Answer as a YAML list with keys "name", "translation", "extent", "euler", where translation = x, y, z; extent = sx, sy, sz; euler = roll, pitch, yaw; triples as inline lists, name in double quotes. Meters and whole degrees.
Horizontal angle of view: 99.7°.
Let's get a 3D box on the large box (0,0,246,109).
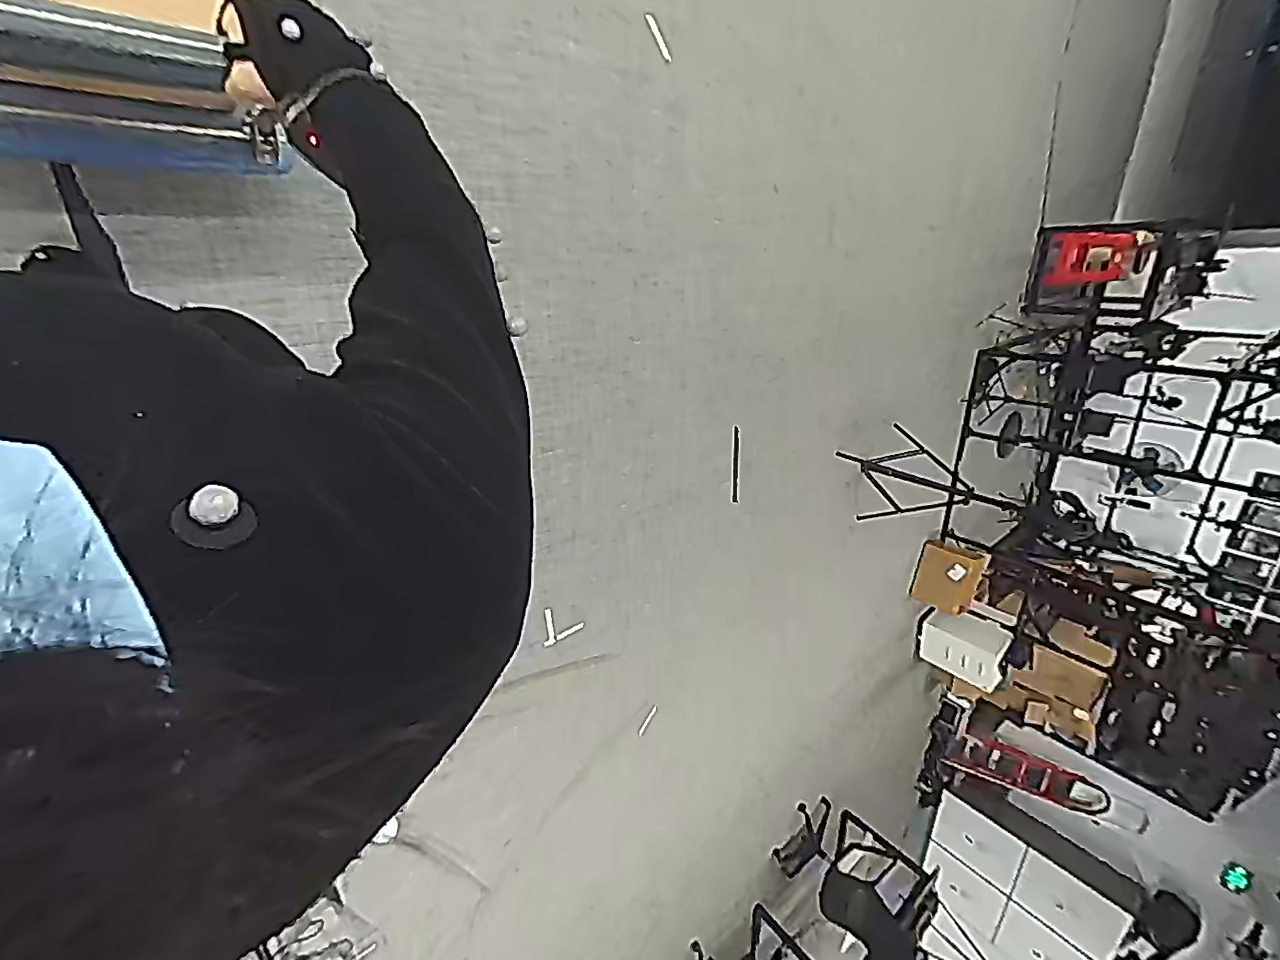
- name: "large box"
  translation: [-0.781, -0.696, 0.662]
  extent: [0.408, 0.320, 0.320]
  euler: [-18, 118, -38]
